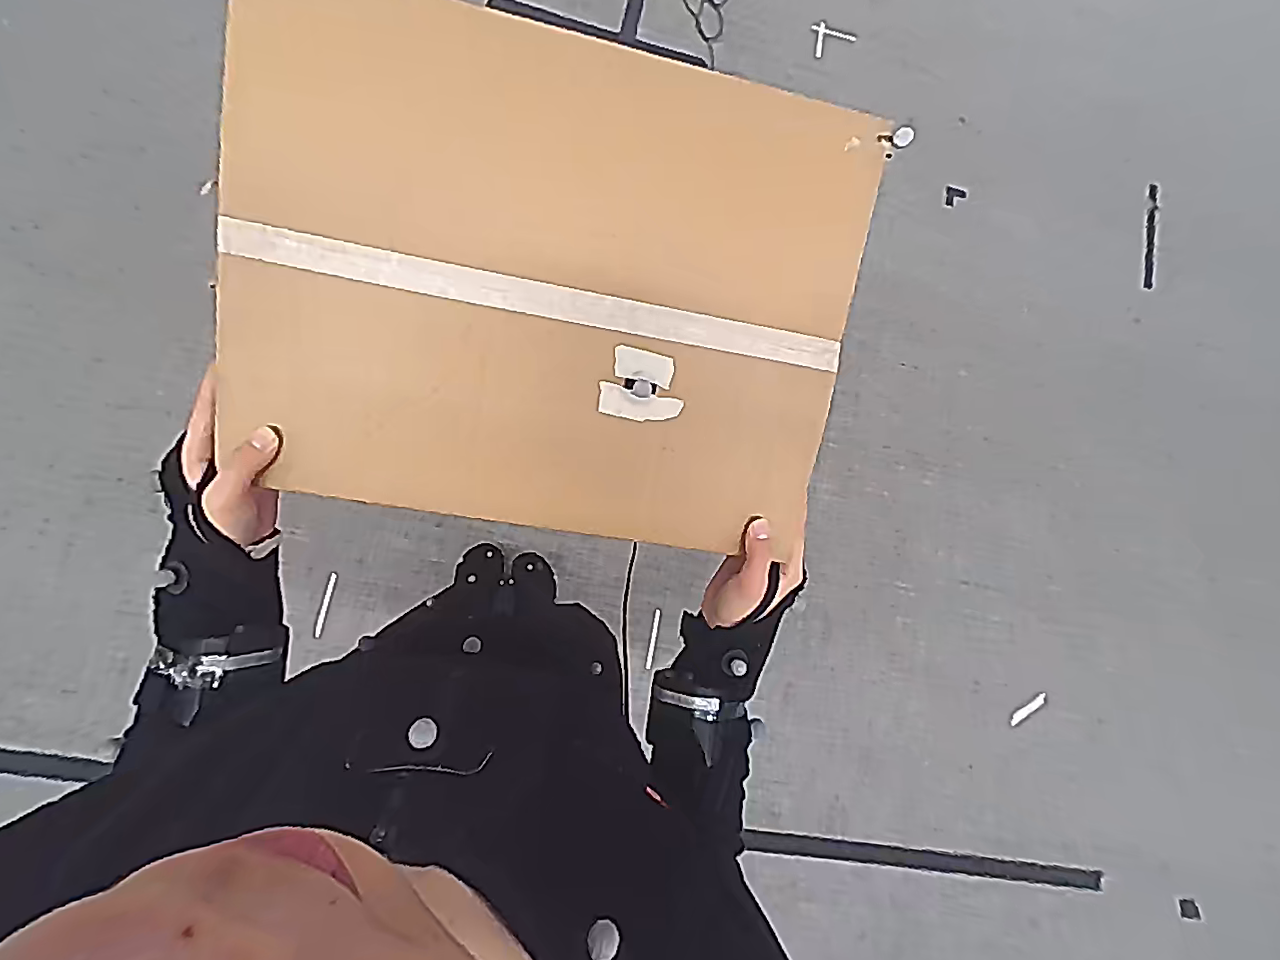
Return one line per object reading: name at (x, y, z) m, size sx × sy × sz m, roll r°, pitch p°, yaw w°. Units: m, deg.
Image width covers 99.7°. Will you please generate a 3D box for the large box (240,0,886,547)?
large box at (-0.069, -0.151, 0.508) m, size 0.408 × 0.320 × 0.320 m, roll 9°, pitch 102°, yaw -9°
